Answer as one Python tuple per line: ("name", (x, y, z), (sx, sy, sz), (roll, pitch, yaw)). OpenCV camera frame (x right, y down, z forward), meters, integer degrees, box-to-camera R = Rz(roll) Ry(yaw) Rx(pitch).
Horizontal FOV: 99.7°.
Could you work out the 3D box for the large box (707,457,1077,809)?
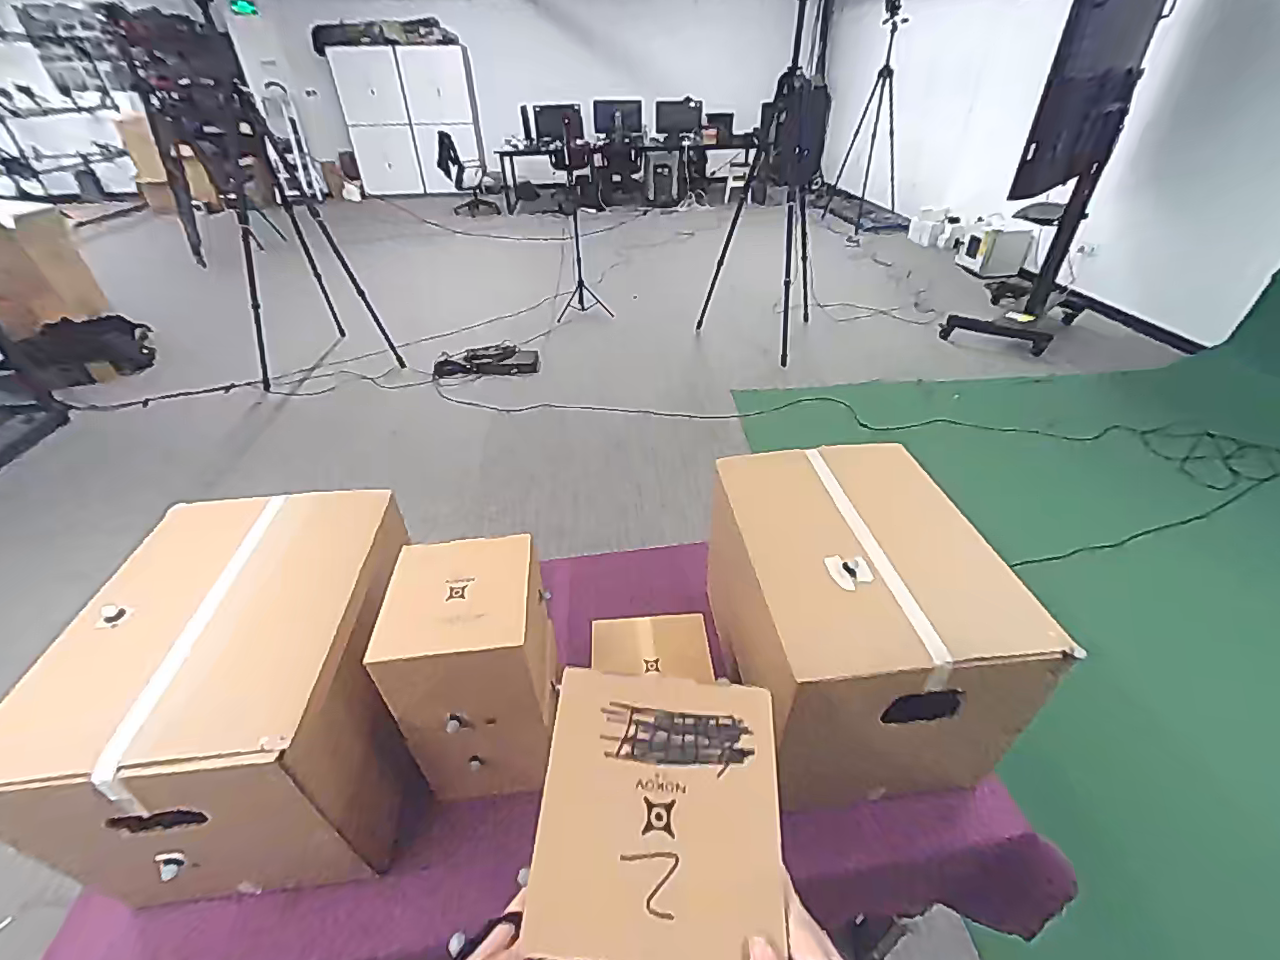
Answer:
("large box", (0.301, 0.207, 0.816), (0.320, 0.320, 0.408), (-4, 38, -4))
